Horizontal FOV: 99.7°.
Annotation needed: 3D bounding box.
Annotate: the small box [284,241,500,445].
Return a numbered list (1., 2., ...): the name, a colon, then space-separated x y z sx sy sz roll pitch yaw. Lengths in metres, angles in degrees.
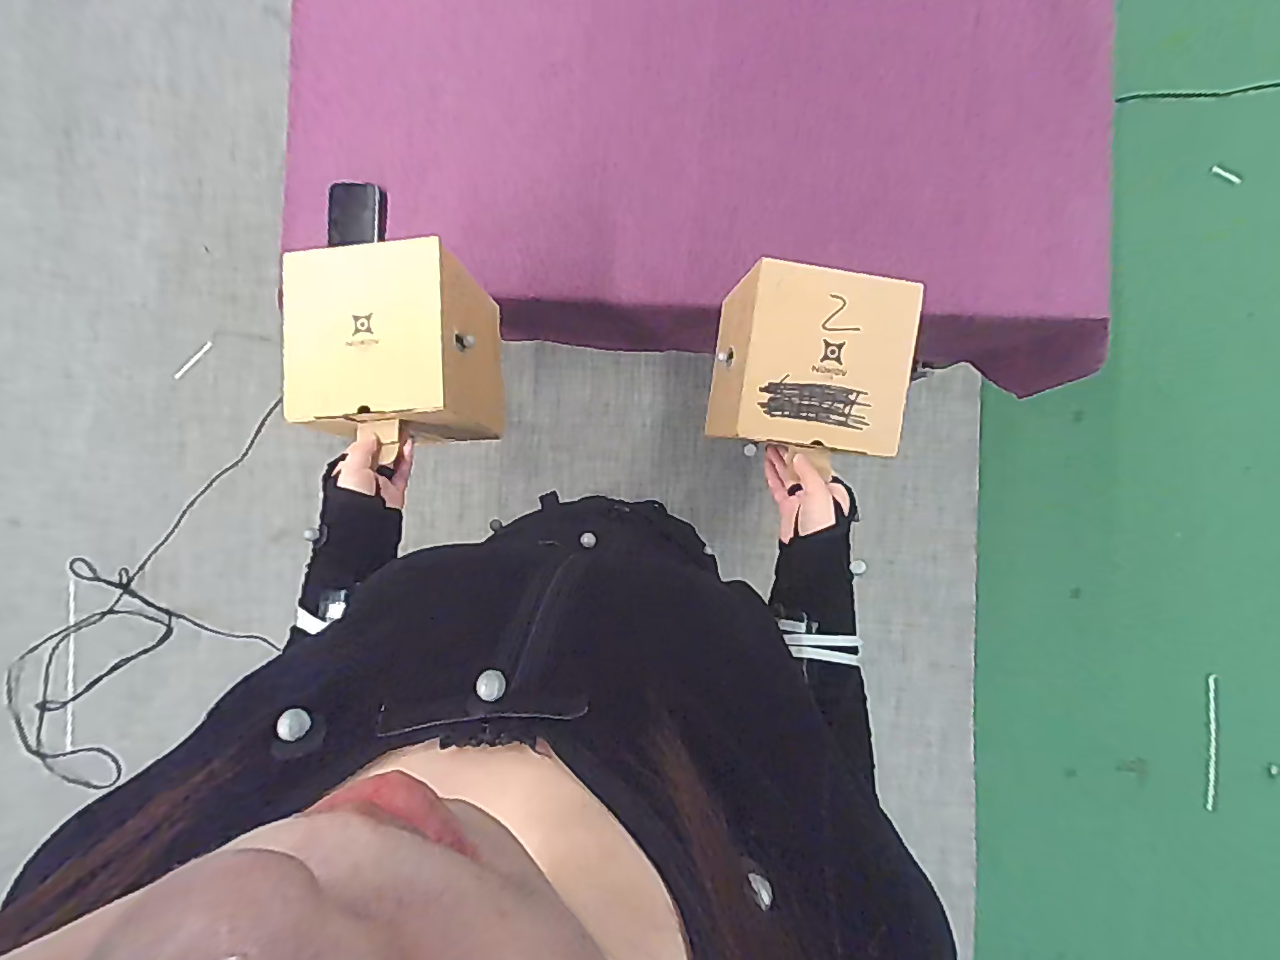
1. small box: -0.263 -0.140 0.609 0.168 0.176 0.179 -3 86 4
